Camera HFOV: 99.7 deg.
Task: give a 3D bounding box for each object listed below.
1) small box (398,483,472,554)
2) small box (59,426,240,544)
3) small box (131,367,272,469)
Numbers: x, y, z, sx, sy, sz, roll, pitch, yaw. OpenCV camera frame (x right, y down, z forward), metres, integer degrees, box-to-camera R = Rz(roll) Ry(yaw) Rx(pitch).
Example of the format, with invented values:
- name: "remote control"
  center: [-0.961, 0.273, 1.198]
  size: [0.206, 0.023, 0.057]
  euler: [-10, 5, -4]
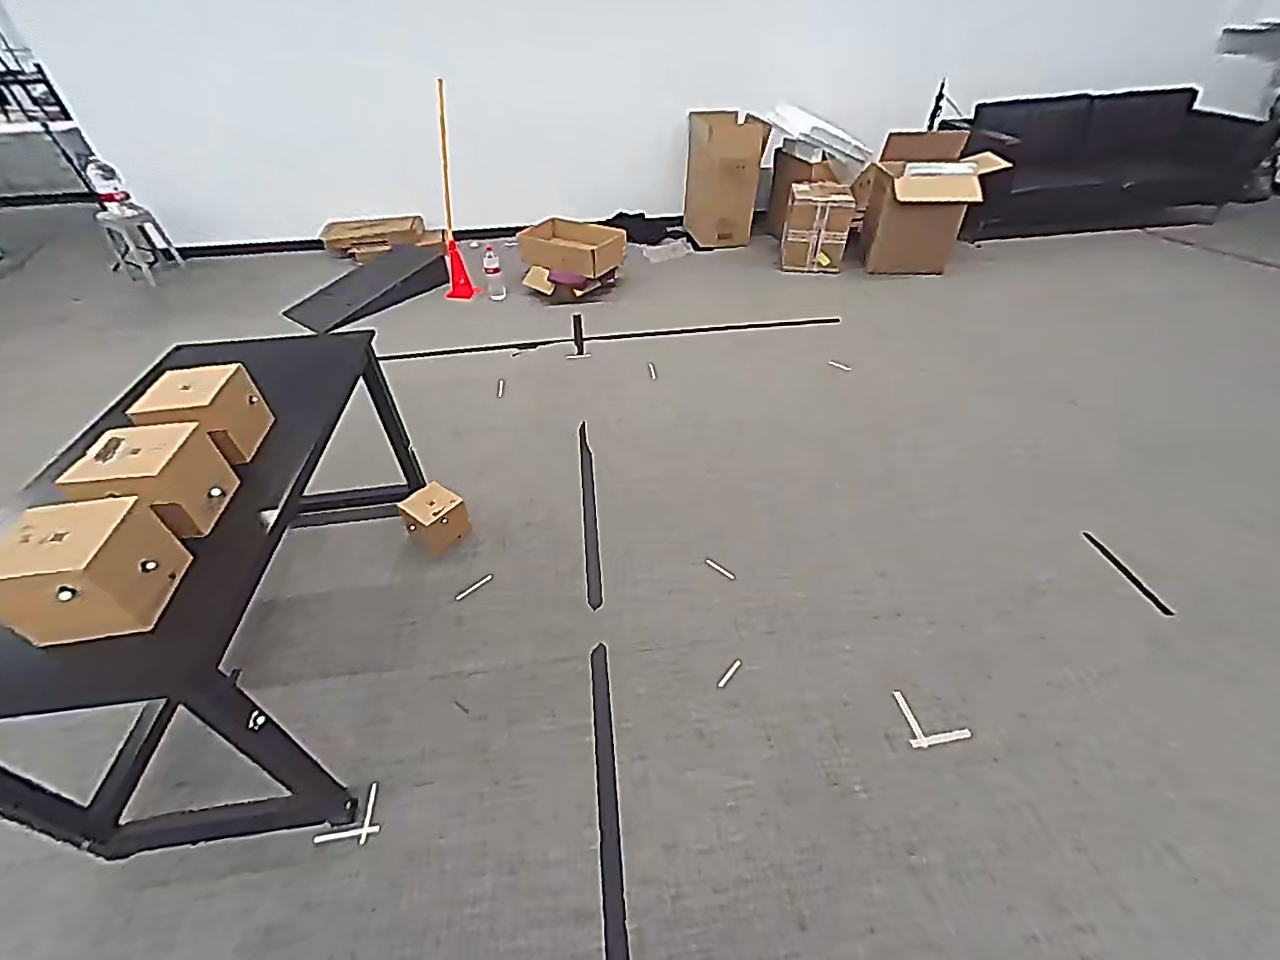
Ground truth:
- name: "small box"
  center: [-0.756, 0.146, 2.009]
  size: [0.179, 0.176, 0.168]
  euler: [25, 49, 27]
- name: "small box"
  center: [-0.960, 0.013, 1.080]
  size: [0.179, 0.176, 0.168]
  euler: [-6, 43, -5]
- name: "small box"
  center: [-0.996, -0.139, 1.251]
  size: [0.168, 0.176, 0.179]
  euler: [-8, 44, -5]
